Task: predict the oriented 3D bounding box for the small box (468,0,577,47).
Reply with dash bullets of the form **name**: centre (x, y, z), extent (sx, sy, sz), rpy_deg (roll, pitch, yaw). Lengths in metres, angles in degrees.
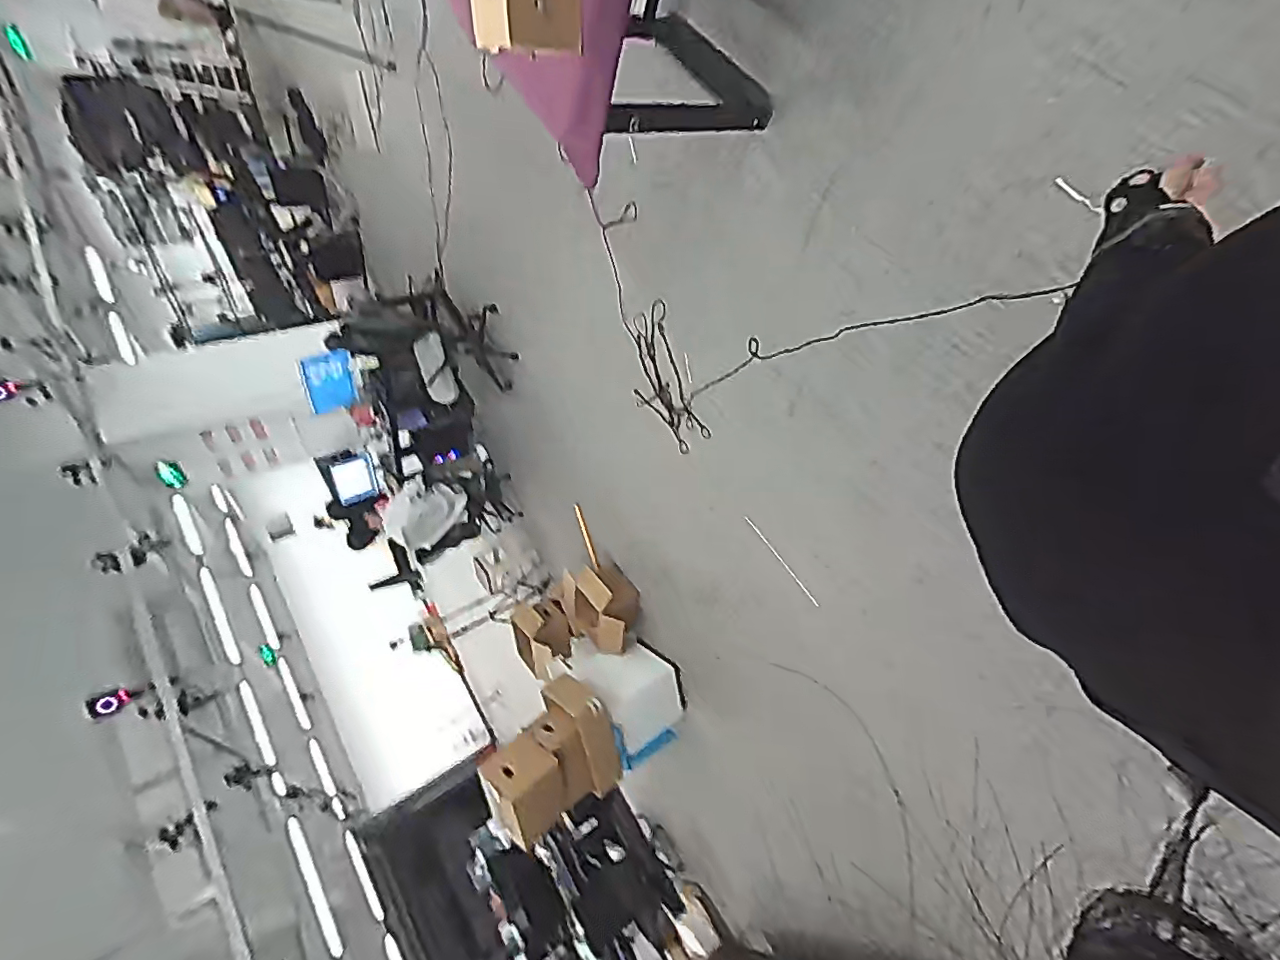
- **small box**: centre (-0.237, -0.988, 1.091), extent (0.168, 0.176, 0.179), rpy_deg (38, 140, 38)
